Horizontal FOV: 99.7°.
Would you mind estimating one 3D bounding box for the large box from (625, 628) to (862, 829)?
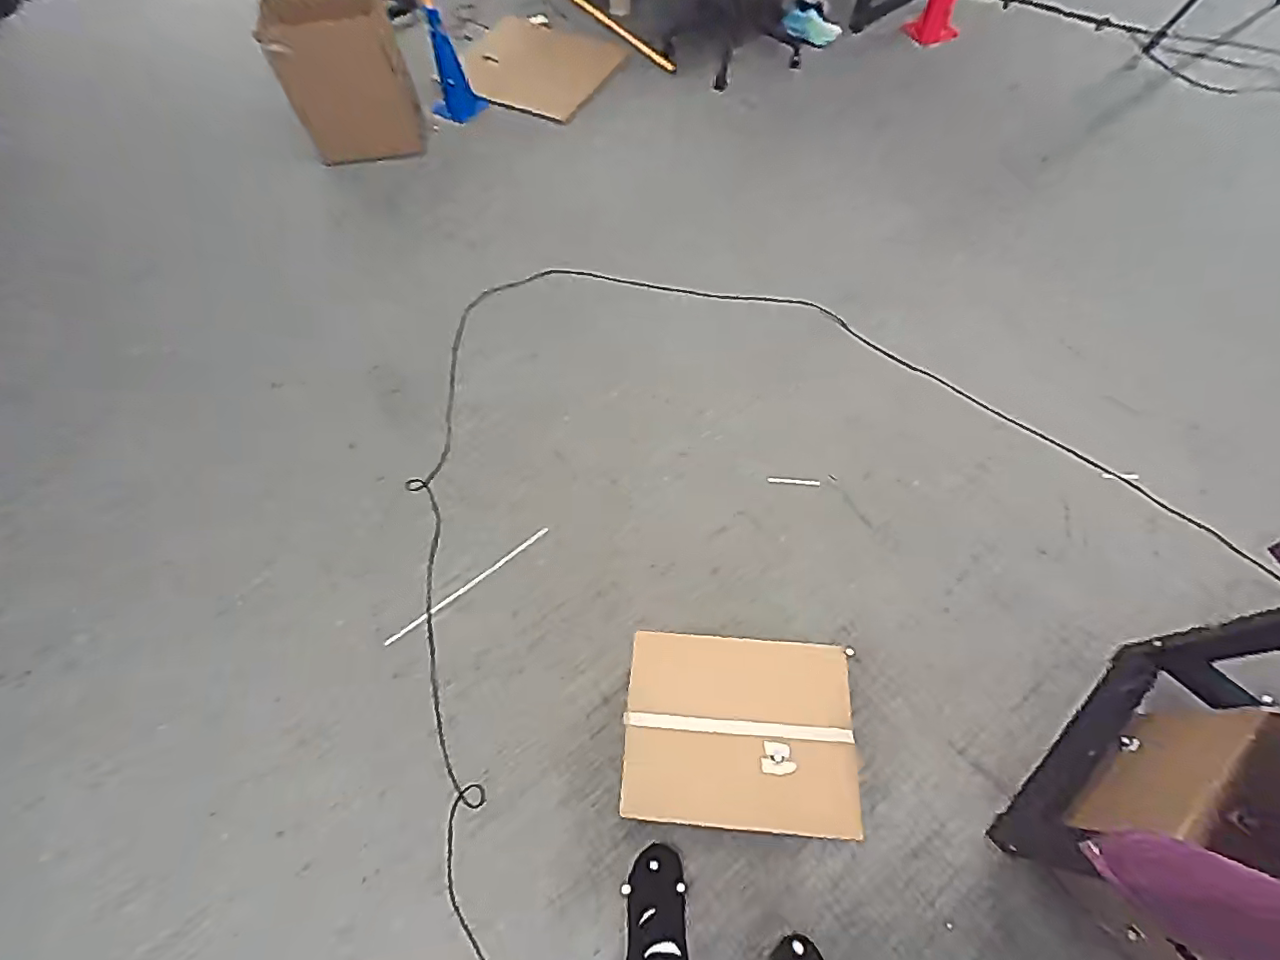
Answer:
[{"bbox_3d":[0.182,0.498,1.100,0.408,0.320,0.320,3,65,3],"label":"large box"}]
